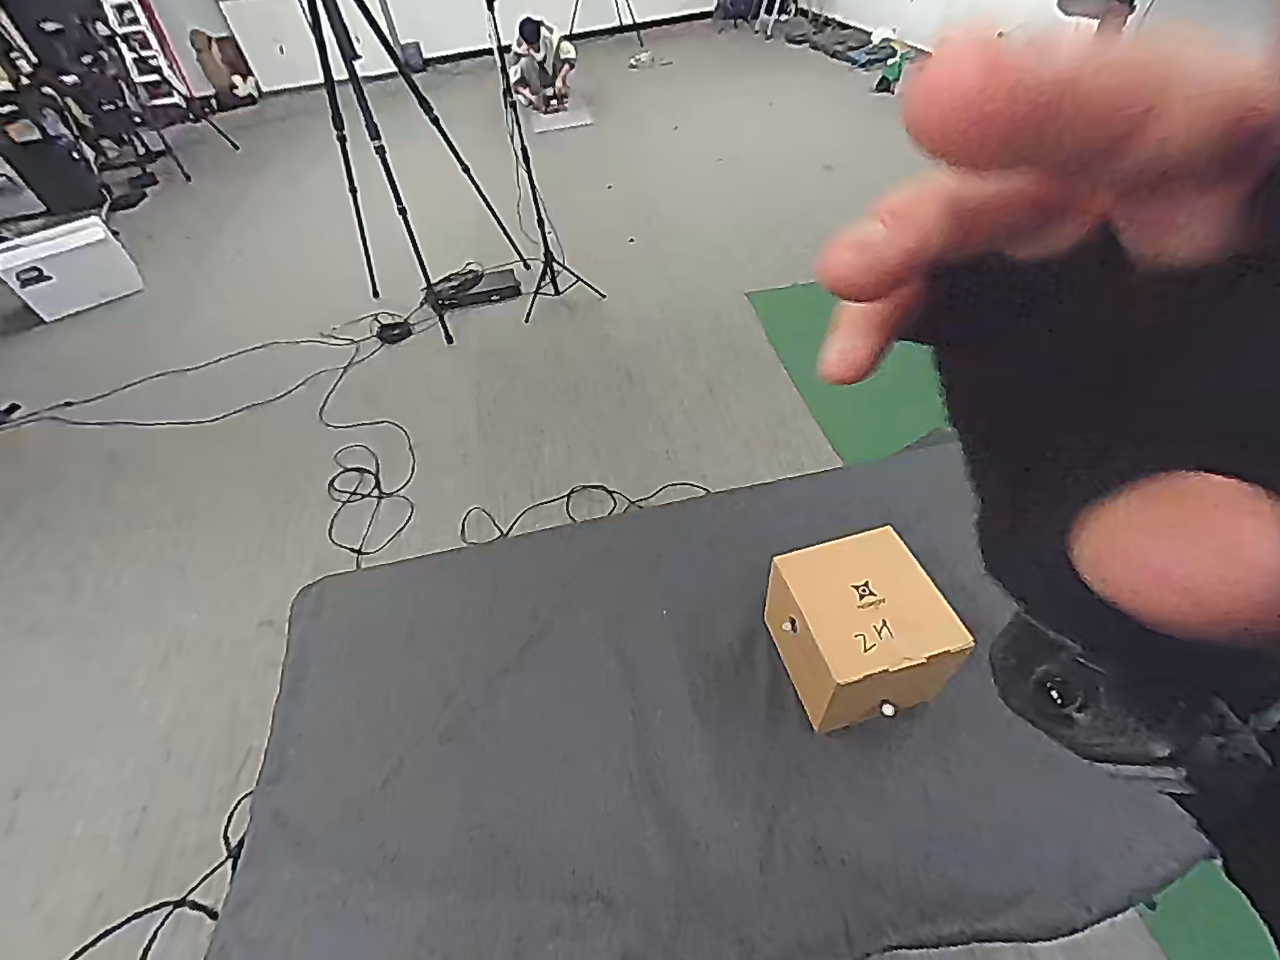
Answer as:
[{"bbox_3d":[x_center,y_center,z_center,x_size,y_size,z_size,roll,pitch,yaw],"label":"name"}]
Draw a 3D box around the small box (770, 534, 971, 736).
[{"bbox_3d":[0.280,0.203,0.708,0.168,0.176,0.179,-14,47,-4],"label":"small box"}]
